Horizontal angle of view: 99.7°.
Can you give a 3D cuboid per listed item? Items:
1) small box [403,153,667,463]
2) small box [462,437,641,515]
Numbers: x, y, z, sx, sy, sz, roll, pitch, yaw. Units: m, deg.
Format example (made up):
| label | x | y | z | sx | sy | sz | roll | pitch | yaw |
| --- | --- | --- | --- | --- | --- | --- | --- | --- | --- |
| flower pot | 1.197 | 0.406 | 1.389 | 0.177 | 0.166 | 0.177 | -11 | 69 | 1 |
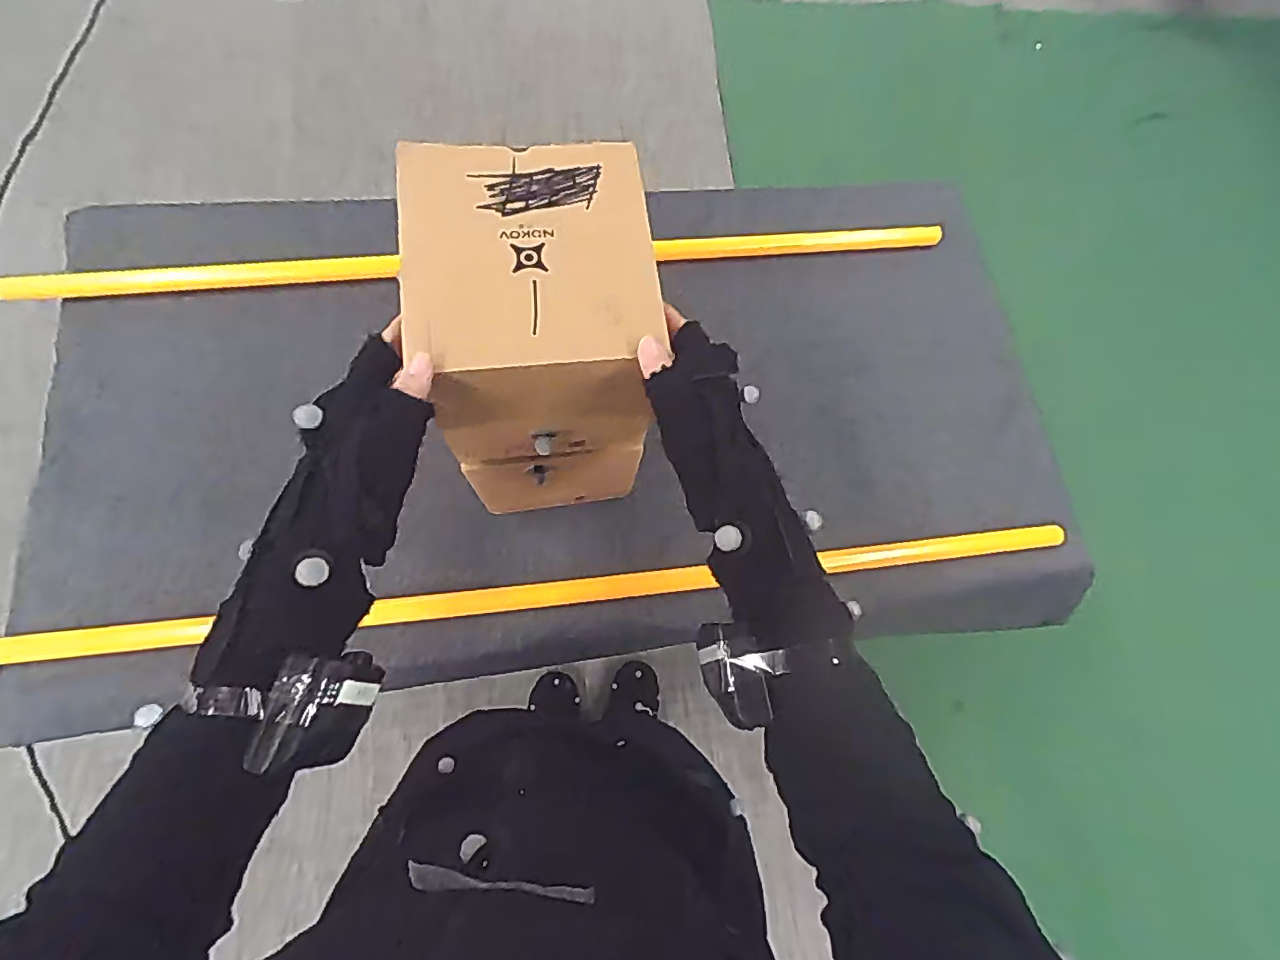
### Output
| label | x | y | z | sx | sy | sz | roll | pitch | yaw |
| --- | --- | --- | --- | --- | --- | --- | --- | --- | --- |
| small box | -0.082 | -0.127 | 0.437 | 0.168 | 0.176 | 0.179 | -6 | 74 | -8 |
| small box | -0.099 | -0.074 | 0.592 | 0.168 | 0.176 | 0.179 | -8 | 73 | -8 |
